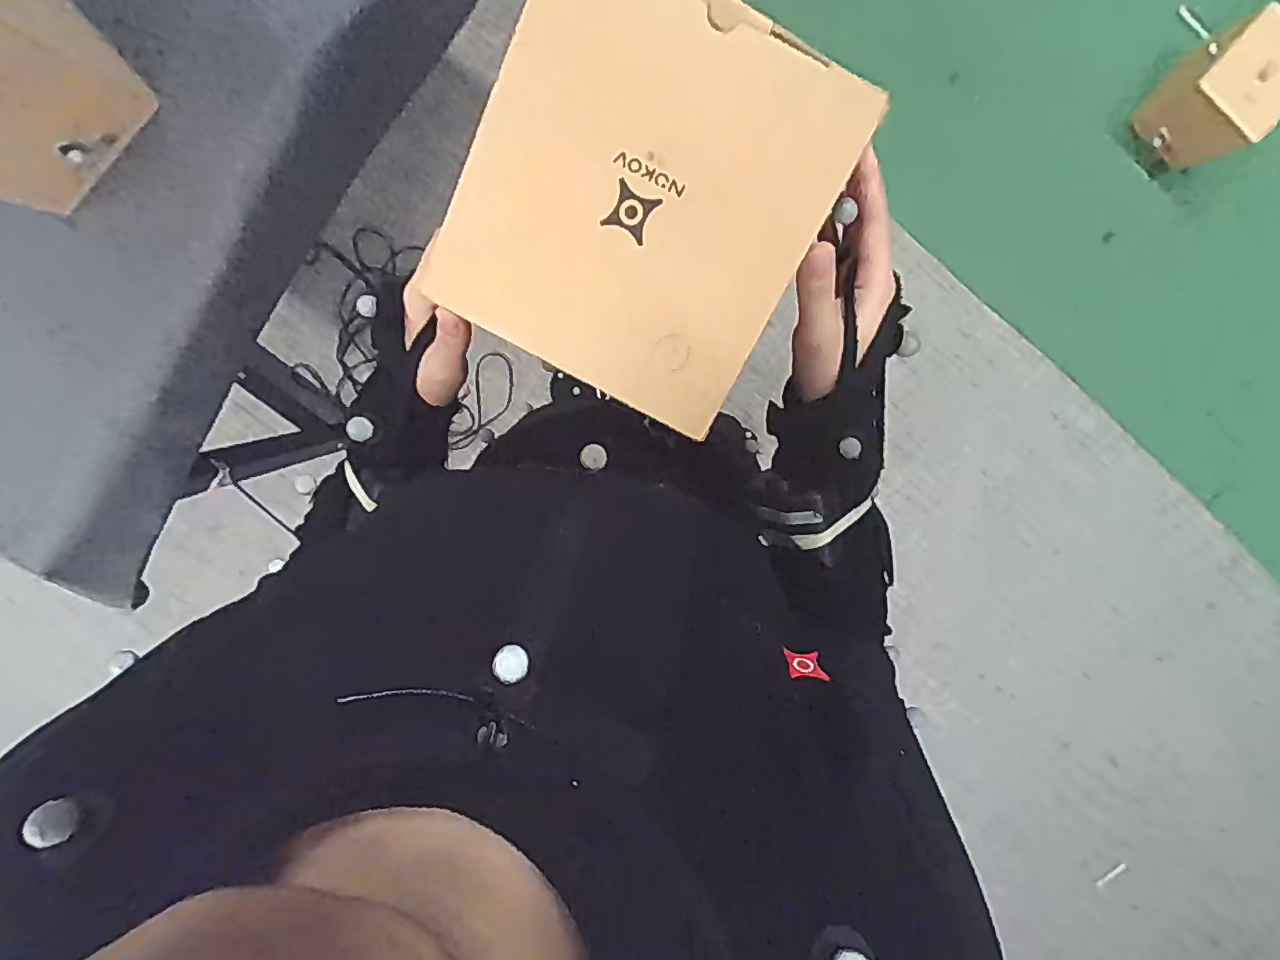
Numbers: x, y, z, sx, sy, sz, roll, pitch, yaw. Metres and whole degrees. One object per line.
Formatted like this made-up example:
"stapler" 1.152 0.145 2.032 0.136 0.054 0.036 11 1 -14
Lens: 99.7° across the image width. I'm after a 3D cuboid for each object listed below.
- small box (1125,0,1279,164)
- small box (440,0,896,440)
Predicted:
"small box" 1.152 -0.784 1.085 0.168 0.176 0.179 38 102 -6
"small box" 0.014 -0.149 0.335 0.168 0.176 0.179 28 104 -1
